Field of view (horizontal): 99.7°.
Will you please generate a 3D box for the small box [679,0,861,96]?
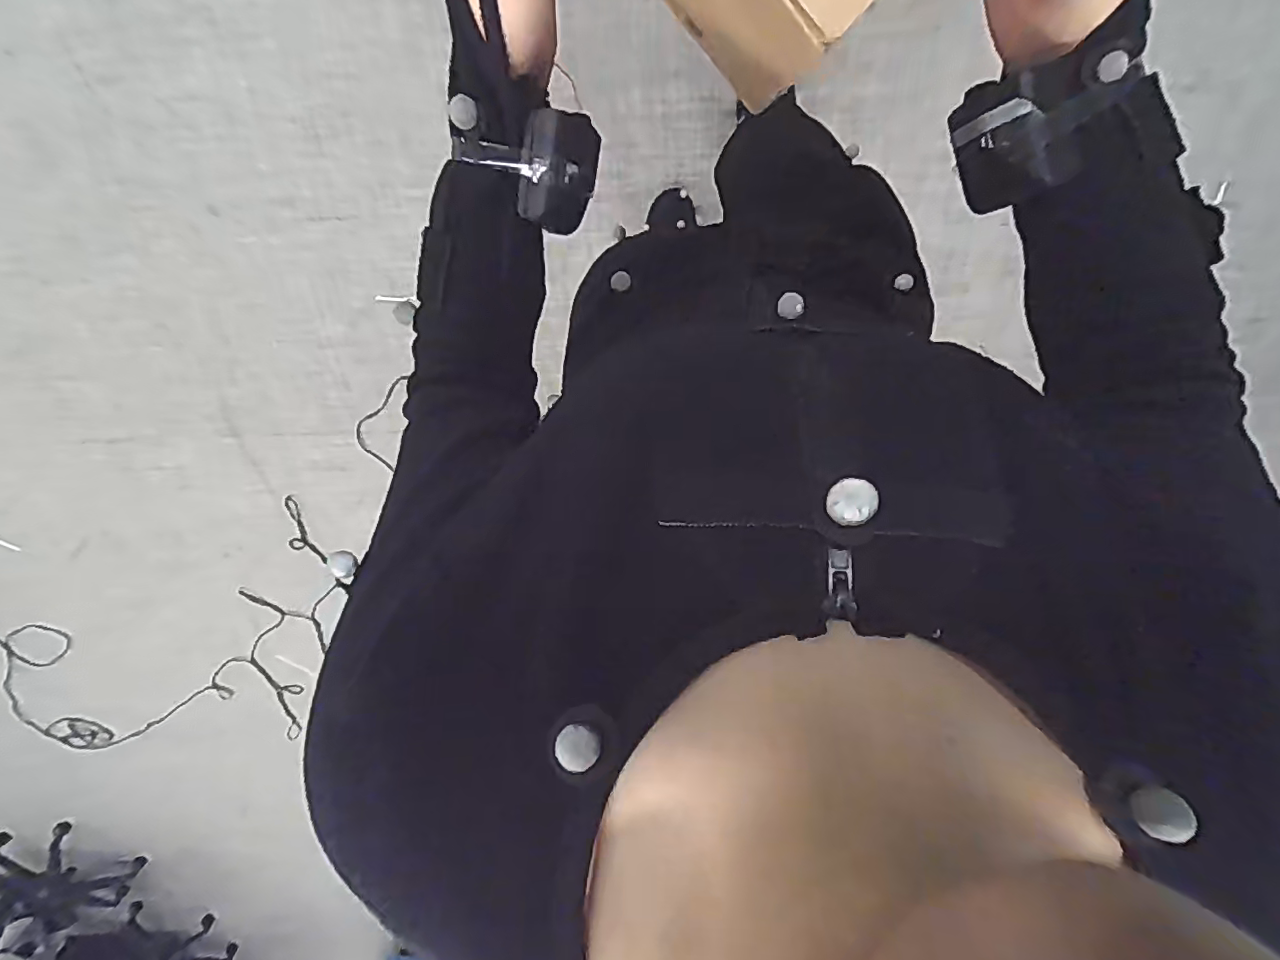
[{"bbox_3d":[0.074,-0.314,0.236,0.168,0.176,0.179,41,112,-17],"label":"small box"}]
